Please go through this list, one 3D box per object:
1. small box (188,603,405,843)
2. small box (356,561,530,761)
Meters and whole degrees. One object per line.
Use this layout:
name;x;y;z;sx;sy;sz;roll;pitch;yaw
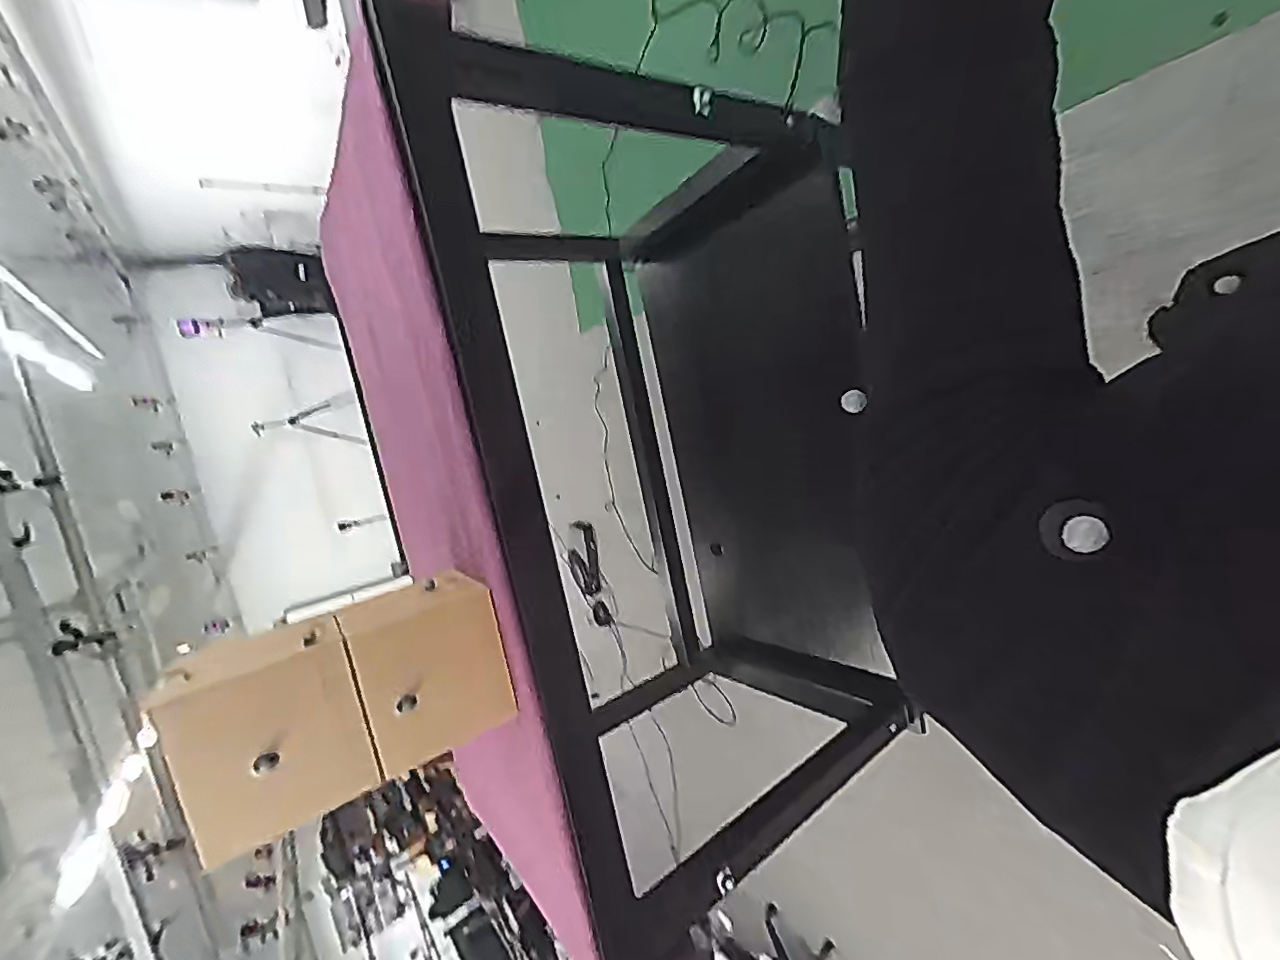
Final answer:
small box;-0.398;0.265;0.644;0.168;0.176;0.179;1;105;57
small box;-0.264;0.228;0.731;0.168;0.176;0.179;1;104;57
